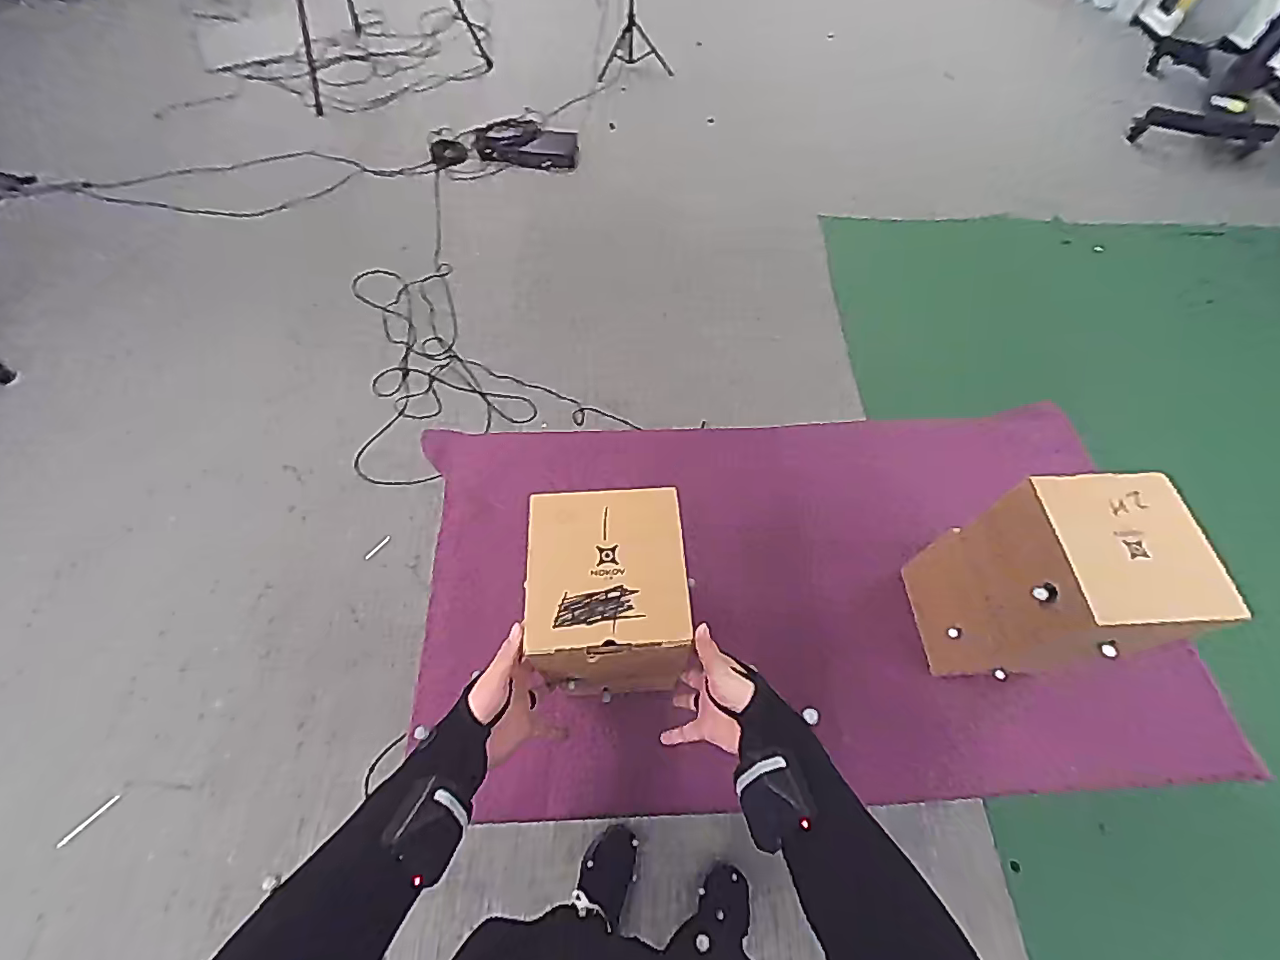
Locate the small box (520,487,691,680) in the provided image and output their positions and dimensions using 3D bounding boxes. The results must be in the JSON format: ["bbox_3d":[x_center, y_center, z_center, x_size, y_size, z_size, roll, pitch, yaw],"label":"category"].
[{"bbox_3d":[-0.036,0.126,0.618,0.168,0.176,0.179,-2,58,-3],"label":"small box"}]

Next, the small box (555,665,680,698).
[{"bbox_3d":[-0.039,0.201,0.765,0.168,0.176,0.179,-1,61,-3],"label":"small box"}]

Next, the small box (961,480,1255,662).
[{"bbox_3d":[0.528,0.115,0.645,0.168,0.176,0.179,0,60,-3],"label":"small box"}]
